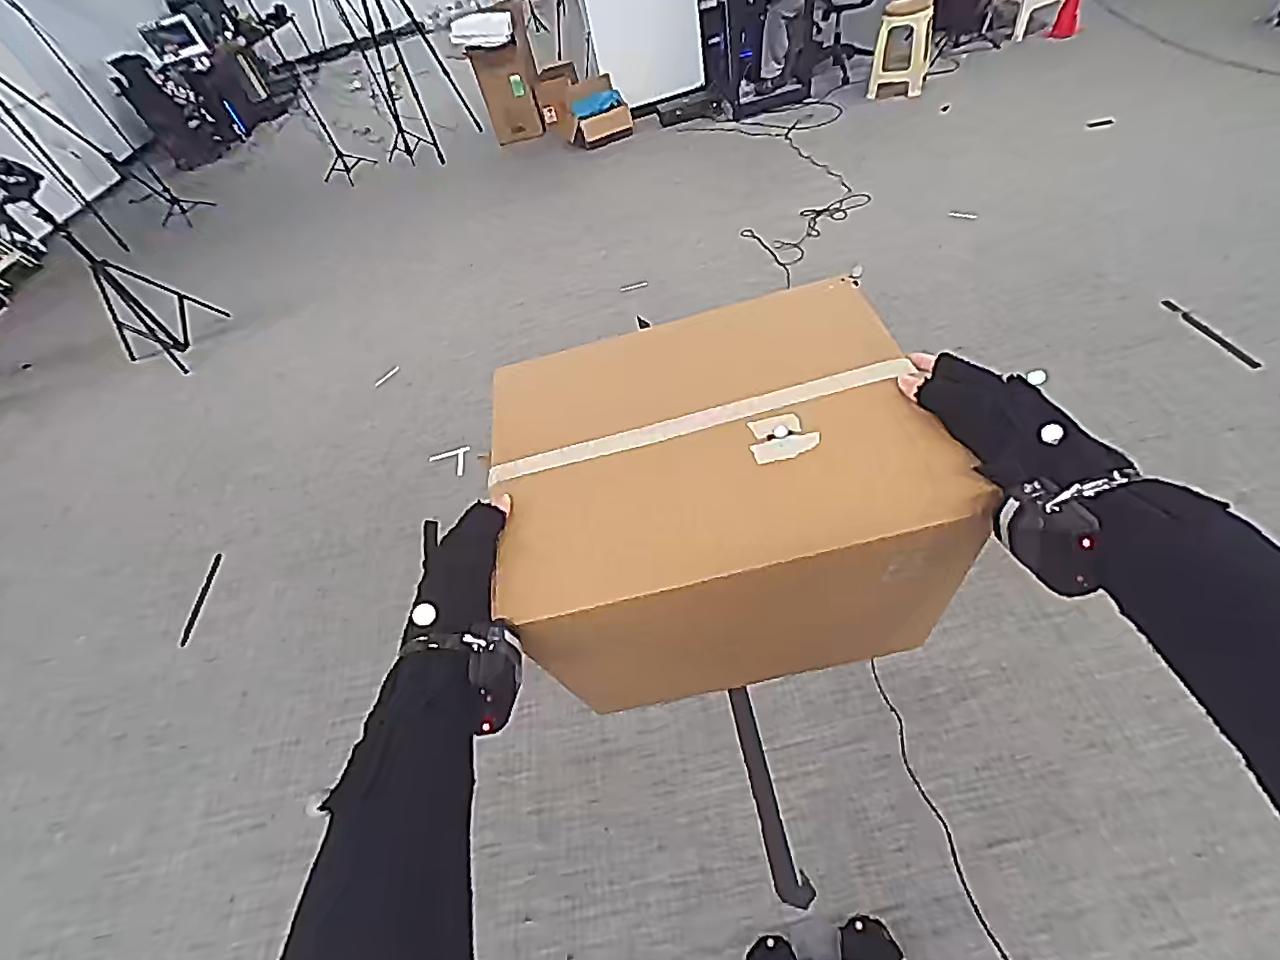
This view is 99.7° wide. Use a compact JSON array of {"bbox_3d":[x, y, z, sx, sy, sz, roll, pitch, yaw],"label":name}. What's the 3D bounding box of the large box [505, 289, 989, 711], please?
[{"bbox_3d":[0.088,0.039,0.639,0.408,0.320,0.320,-14,53,3],"label":"large box"}]
